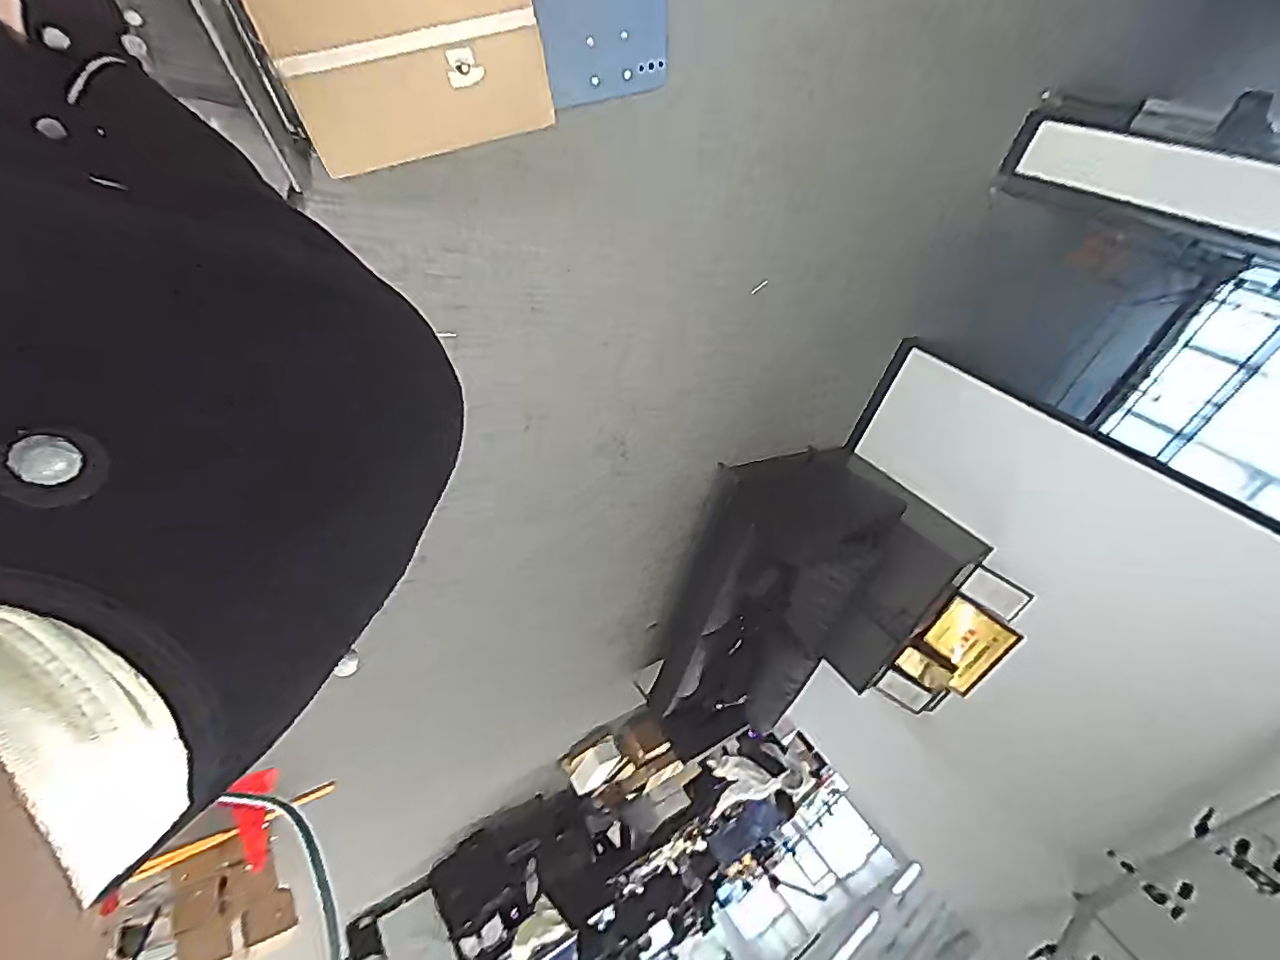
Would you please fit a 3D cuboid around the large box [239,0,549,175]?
[{"bbox_3d":[-0.419,-0.772,0.918,0.408,0.320,0.320,-22,140,-13],"label":"large box"}]
